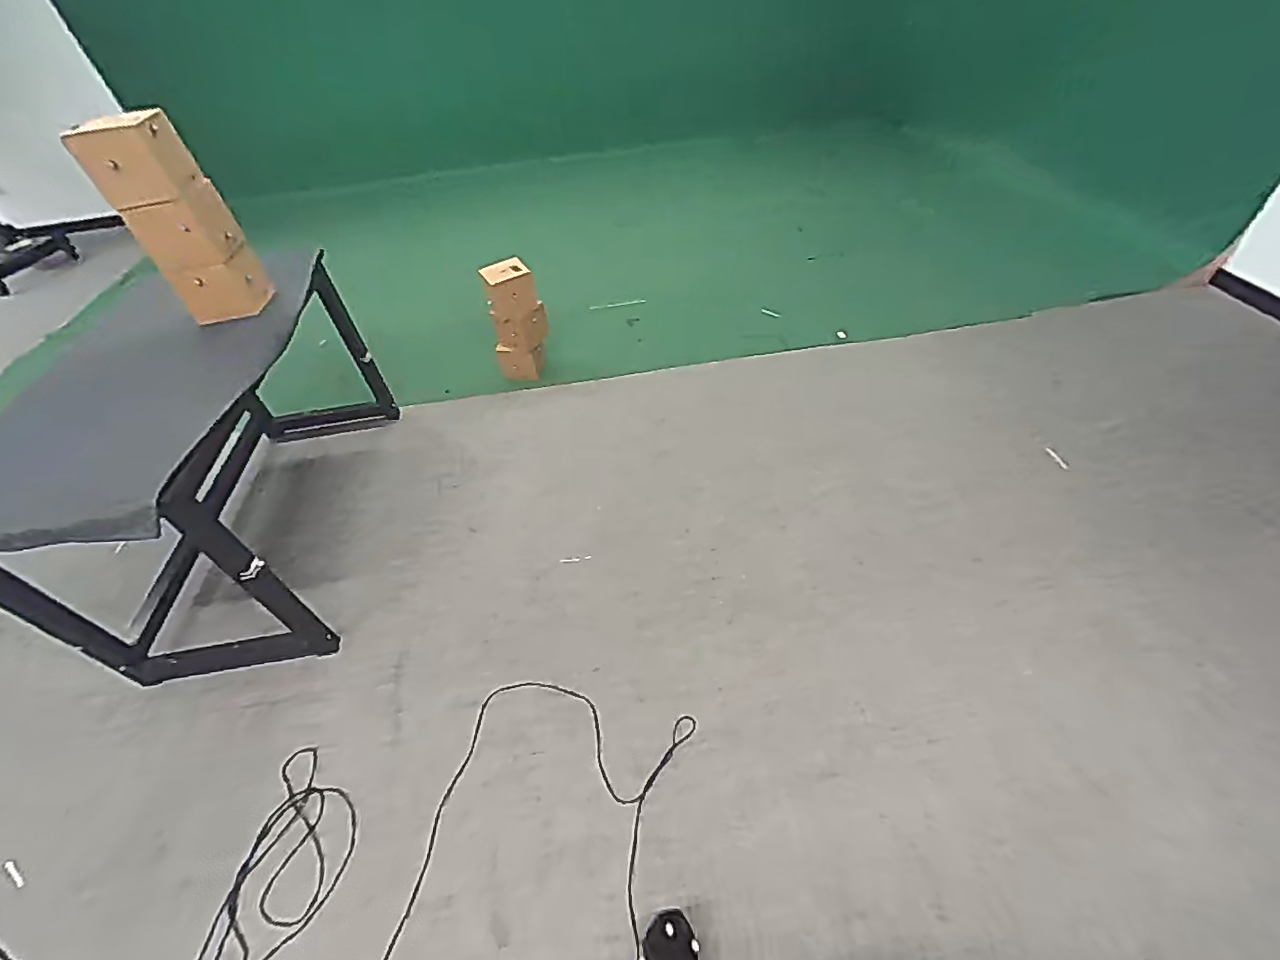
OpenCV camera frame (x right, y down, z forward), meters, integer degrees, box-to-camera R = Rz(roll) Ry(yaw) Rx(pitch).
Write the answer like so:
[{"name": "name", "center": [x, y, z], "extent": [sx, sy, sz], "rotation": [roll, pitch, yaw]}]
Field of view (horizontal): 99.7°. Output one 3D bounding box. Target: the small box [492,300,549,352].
[{"name": "small box", "center": [-0.525, -0.697, 2.412], "extent": [0.168, 0.176, 0.179], "rotation": [21, 52, 22]}]

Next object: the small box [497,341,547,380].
[{"name": "small box", "center": [-0.545, -0.586, 2.533], "extent": [0.168, 0.176, 0.179], "rotation": [4, 47, 9]}]

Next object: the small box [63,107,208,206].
[{"name": "small box", "center": [-1.262, -0.816, 1.369], "extent": [0.179, 0.176, 0.168], "rotation": [-12, 47, -3]}]

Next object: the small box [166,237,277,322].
[{"name": "small box", "center": [-1.232, -0.594, 1.610], "extent": [0.179, 0.176, 0.168], "rotation": [-10, 47, -1]}]

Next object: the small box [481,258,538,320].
[{"name": "small box", "center": [-0.546, -0.808, 2.292], "extent": [0.179, 0.176, 0.168], "rotation": [-26, 51, -17]}]
